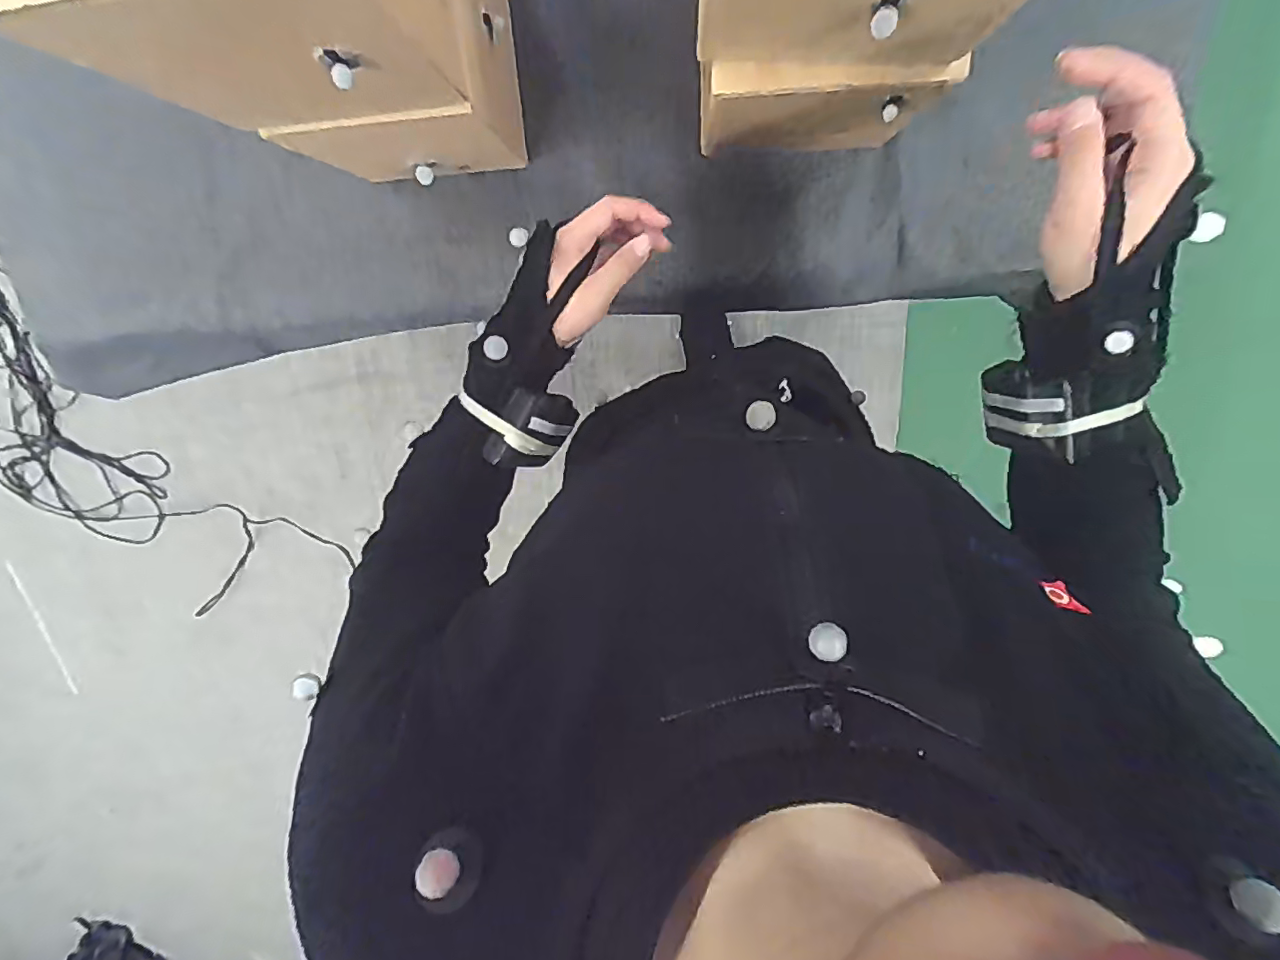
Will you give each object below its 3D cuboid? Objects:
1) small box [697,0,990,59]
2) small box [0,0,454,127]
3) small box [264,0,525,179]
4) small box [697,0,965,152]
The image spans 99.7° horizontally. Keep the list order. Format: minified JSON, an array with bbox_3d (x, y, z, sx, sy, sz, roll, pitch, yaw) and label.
[{"bbox_3d":[0.120,-0.338,0.264,0.179,0.176,0.168,2,107,2],"label":"small box"},{"bbox_3d":[-0.218,-0.317,0.293,0.179,0.176,0.168,-4,107,6],"label":"small box"},{"bbox_3d":[-0.203,-0.369,0.446,0.168,0.176,0.179,-3,109,4],"label":"small box"},{"bbox_3d":[0.134,-0.375,0.428,0.179,0.176,0.168,-2,108,3],"label":"small box"}]
